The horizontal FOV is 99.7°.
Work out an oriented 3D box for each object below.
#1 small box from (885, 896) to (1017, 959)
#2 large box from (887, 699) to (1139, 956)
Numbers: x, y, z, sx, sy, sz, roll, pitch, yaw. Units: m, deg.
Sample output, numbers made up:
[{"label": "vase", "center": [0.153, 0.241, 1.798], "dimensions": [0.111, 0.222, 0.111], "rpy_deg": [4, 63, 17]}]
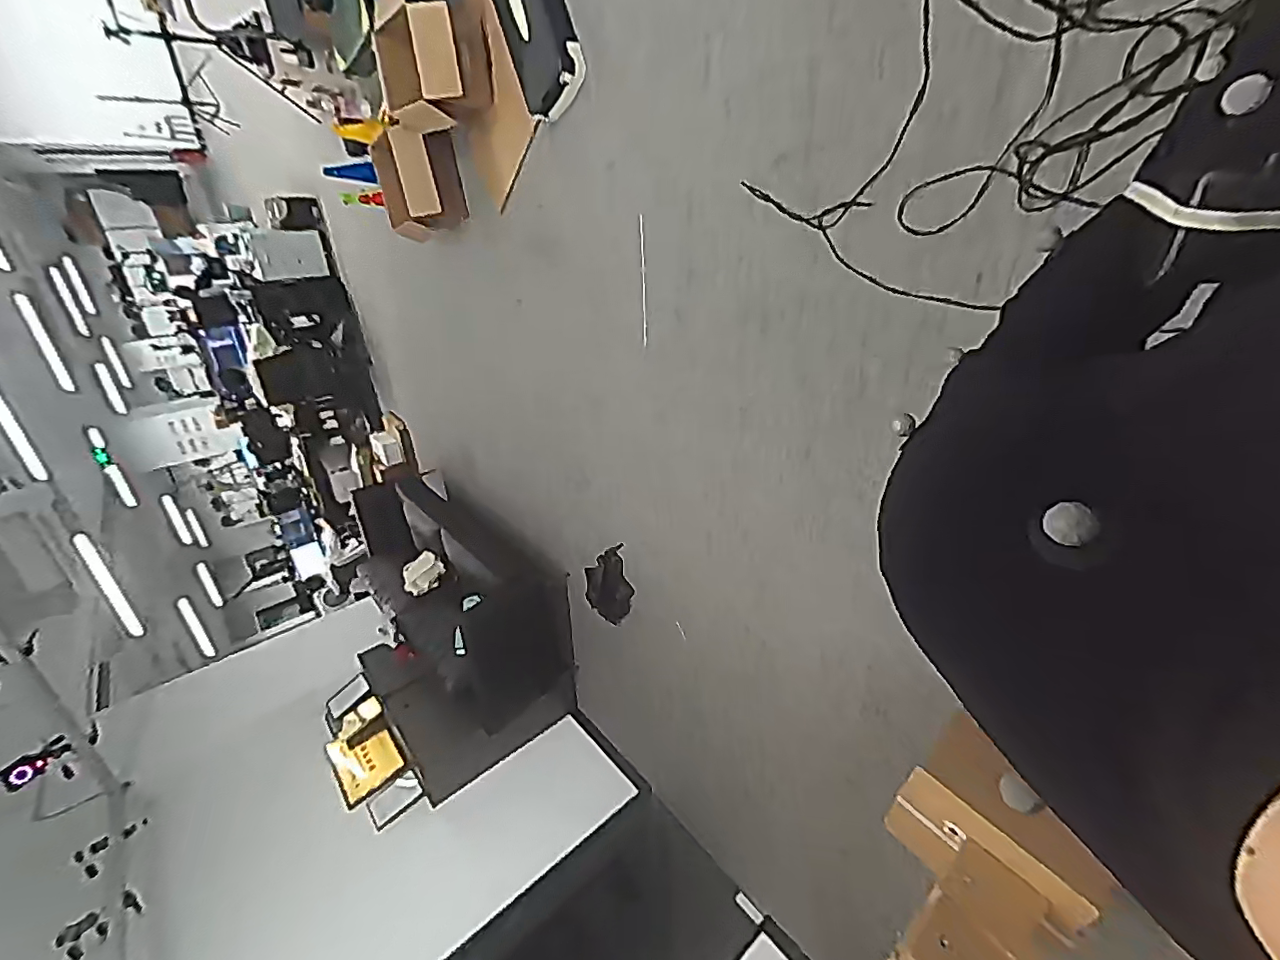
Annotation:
[{"label": "small box", "center": [0.667, 1.042, 1.159], "dimensions": [0.179, 0.176, 0.168], "rpy_deg": [39, 138, 35]}, {"label": "large box", "center": [0.947, 0.876, 1.410], "dimensions": [0.408, 0.320, 0.320], "rpy_deg": [36, 134, 40]}]
